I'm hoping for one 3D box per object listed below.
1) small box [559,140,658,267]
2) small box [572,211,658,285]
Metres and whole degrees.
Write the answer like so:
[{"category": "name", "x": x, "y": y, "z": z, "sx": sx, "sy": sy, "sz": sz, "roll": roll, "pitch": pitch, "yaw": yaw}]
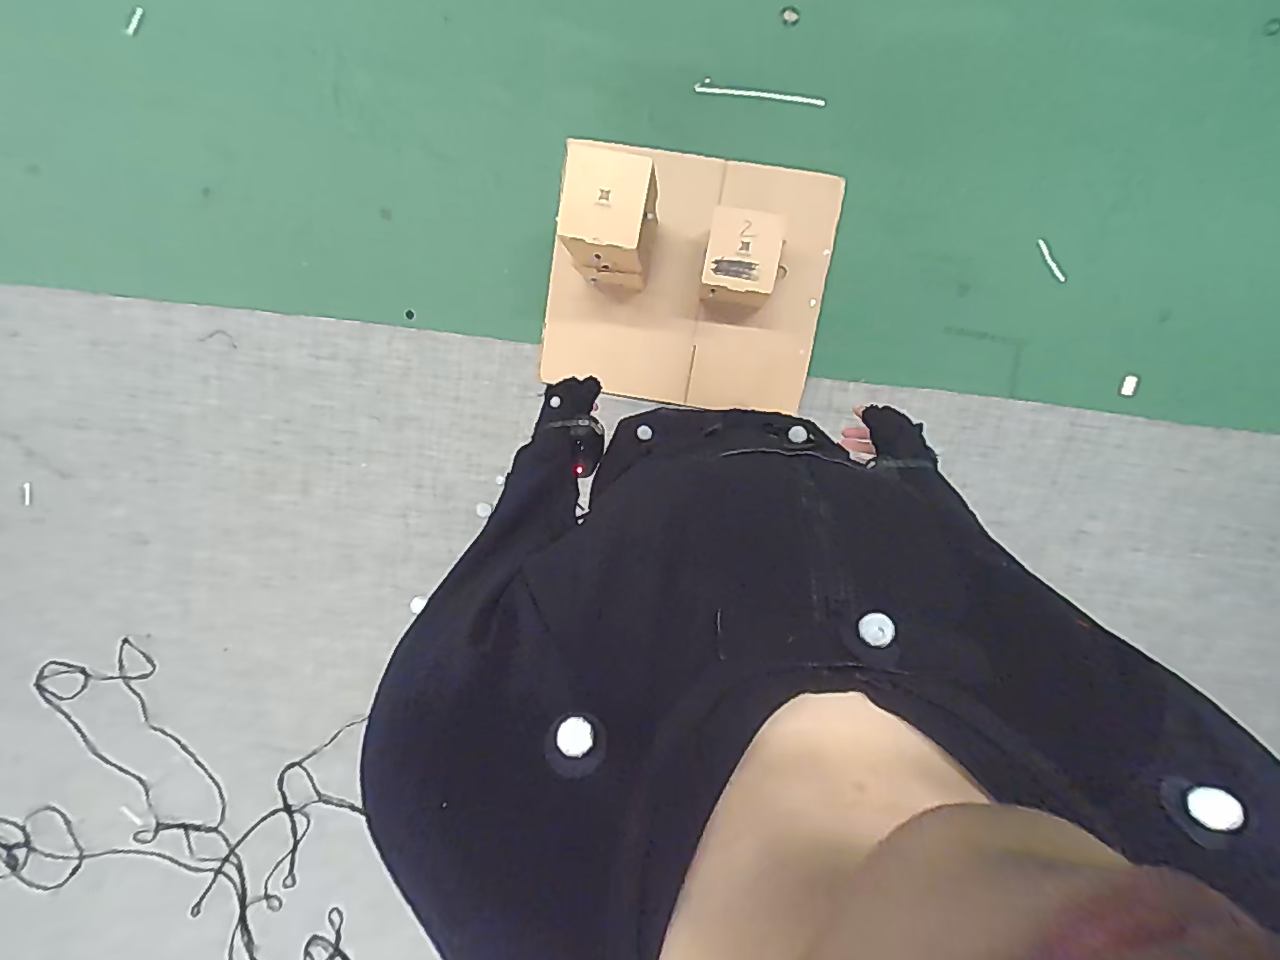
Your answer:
[{"category": "small box", "x": -0.059, "y": -0.567, "z": 1.131, "sx": 0.168, "sy": 0.176, "sz": 0.179, "roll": 12, "pitch": 99, "yaw": 2}, {"category": "small box", "x": -0.054, "y": -0.579, "z": 1.293, "sx": 0.168, "sy": 0.176, "sz": 0.179, "roll": 11, "pitch": 98, "yaw": 3}]
